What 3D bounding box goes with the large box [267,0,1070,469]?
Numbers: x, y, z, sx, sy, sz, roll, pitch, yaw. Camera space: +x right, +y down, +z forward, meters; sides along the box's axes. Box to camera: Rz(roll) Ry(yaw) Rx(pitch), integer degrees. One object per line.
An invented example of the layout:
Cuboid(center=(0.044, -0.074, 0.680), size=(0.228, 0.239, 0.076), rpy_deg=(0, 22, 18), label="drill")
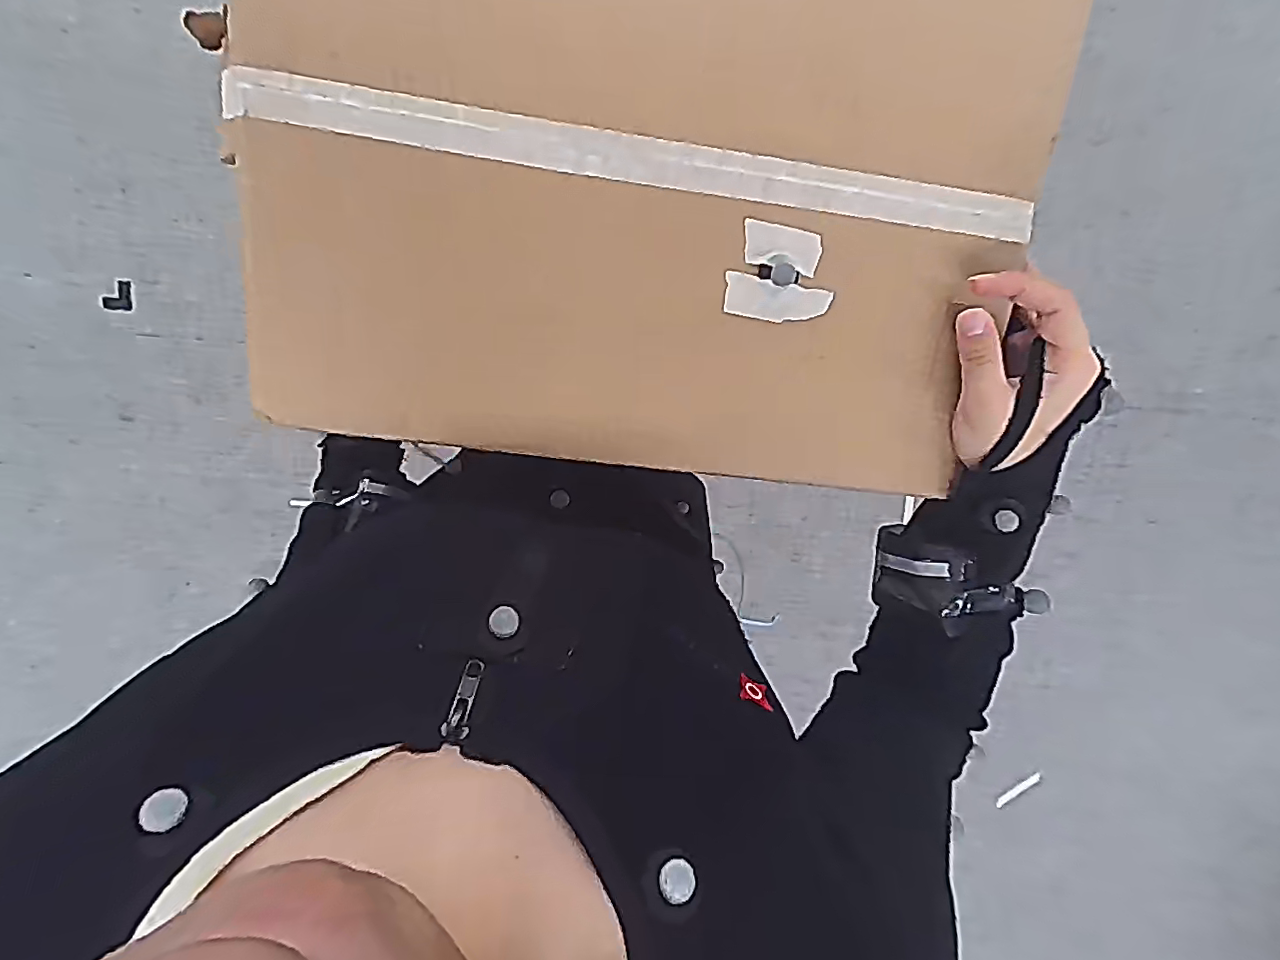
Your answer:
Cuboid(center=(0.001, -0.205, 0.427), size=(0.408, 0.320, 0.320), rpy_deg=(6, 104, -8), label="large box")
